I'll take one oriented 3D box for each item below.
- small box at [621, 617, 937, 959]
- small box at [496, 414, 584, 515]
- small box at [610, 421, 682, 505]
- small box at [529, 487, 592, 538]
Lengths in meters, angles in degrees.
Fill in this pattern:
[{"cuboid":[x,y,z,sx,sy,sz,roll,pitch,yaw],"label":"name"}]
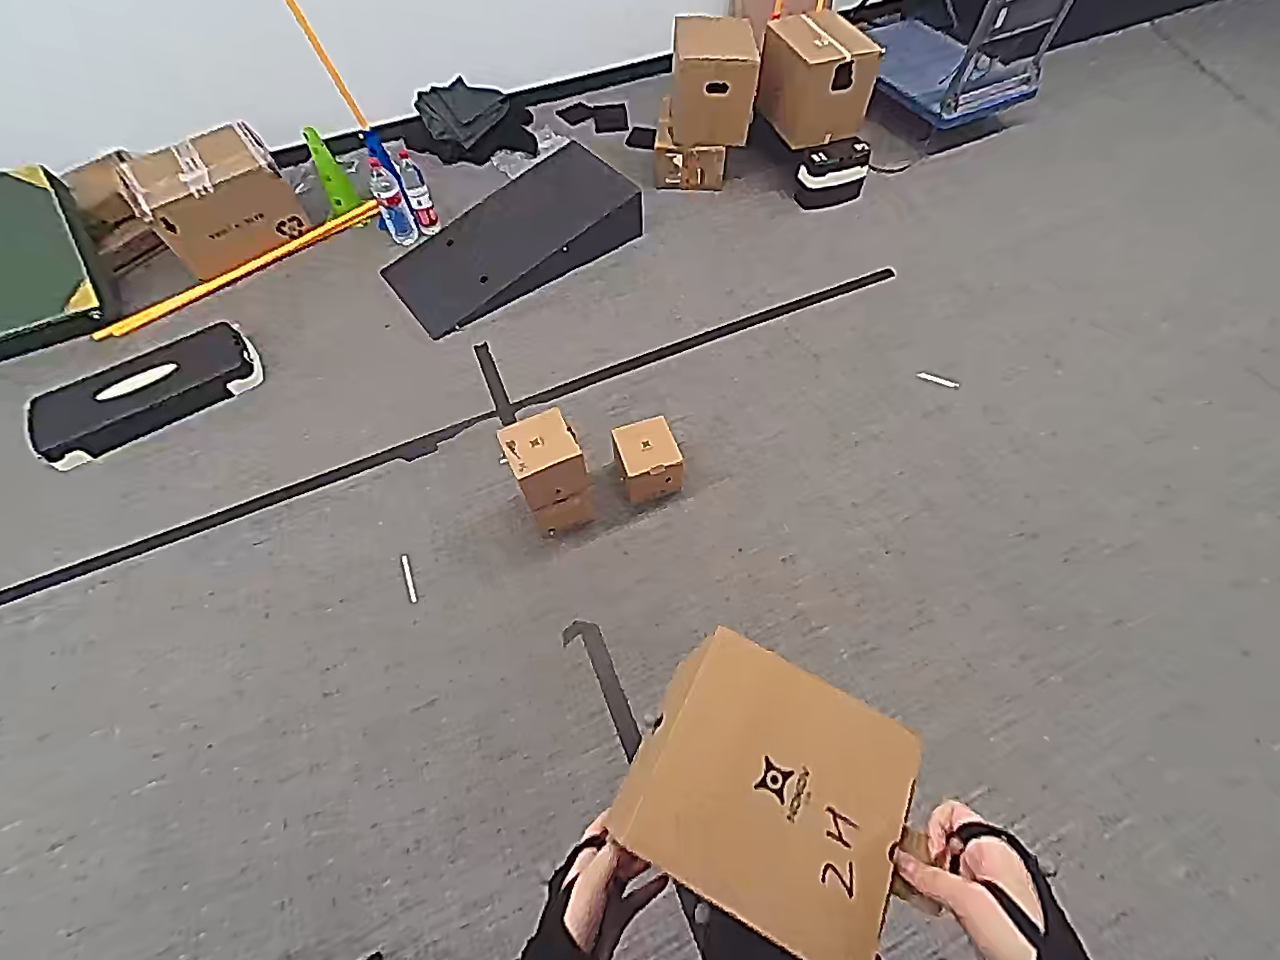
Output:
[{"cuboid":[0.097,0.244,0.443,0.179,0.176,0.168,29,62,8],"label":"small box"},{"cuboid":[-0.254,-0.038,1.417,0.179,0.176,0.168,-23,60,-13],"label":"small box"},{"cuboid":[0.017,-0.042,1.609,0.168,0.176,0.179,-16,59,-9],"label":"small box"},{"cuboid":[-0.245,0.048,1.557,0.168,0.176,0.179,-19,59,-10],"label":"small box"}]
